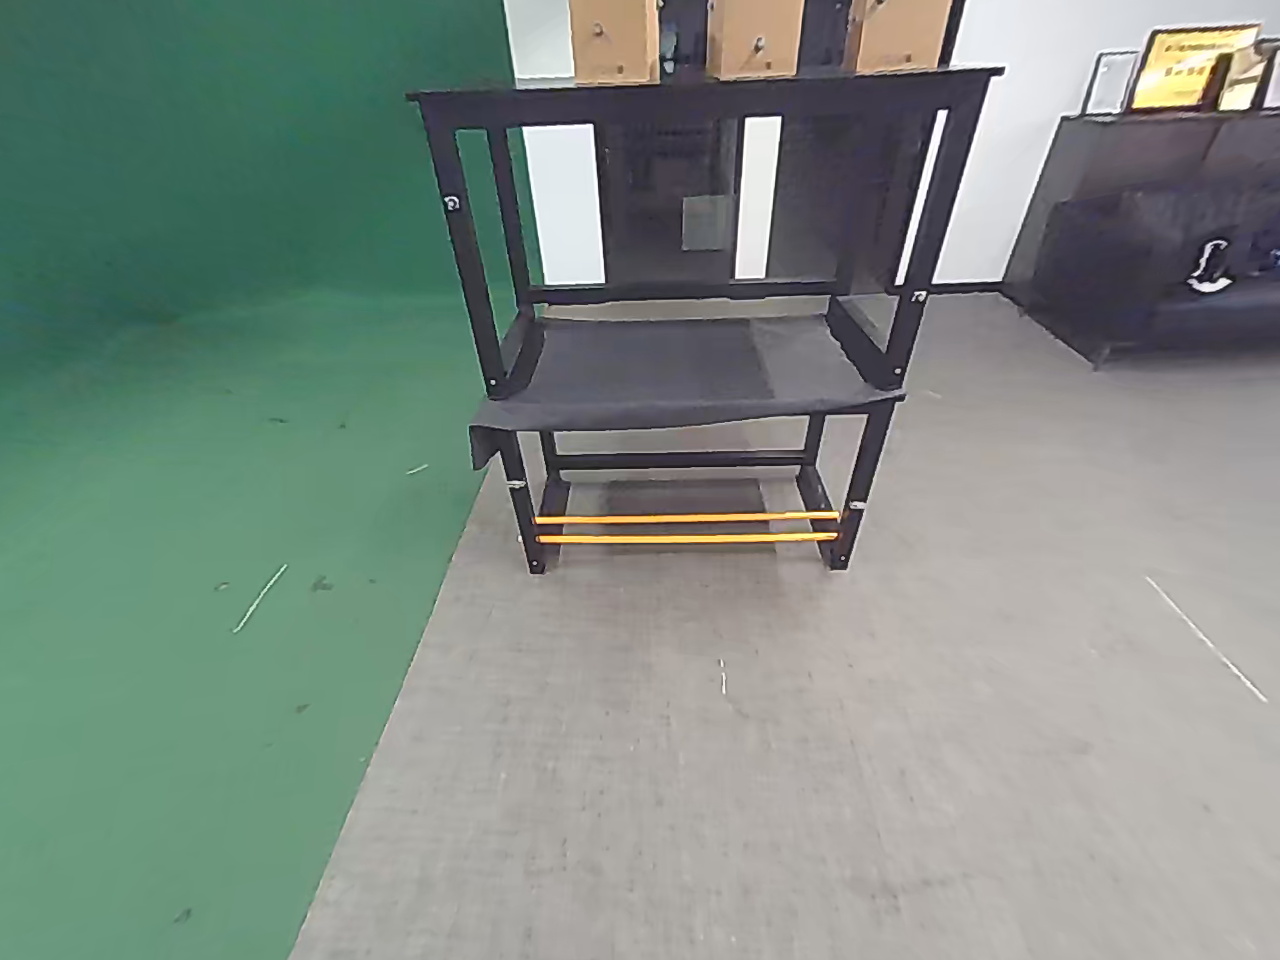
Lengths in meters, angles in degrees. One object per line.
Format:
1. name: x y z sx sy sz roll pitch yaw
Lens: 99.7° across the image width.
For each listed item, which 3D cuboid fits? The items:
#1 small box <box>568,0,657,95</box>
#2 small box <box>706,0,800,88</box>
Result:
1. small box: -0.053 -0.974 1.216 0.168 0.176 0.179 4 37 8
2. small box: 0.240 -0.971 1.190 0.168 0.176 0.179 -5 38 -2
